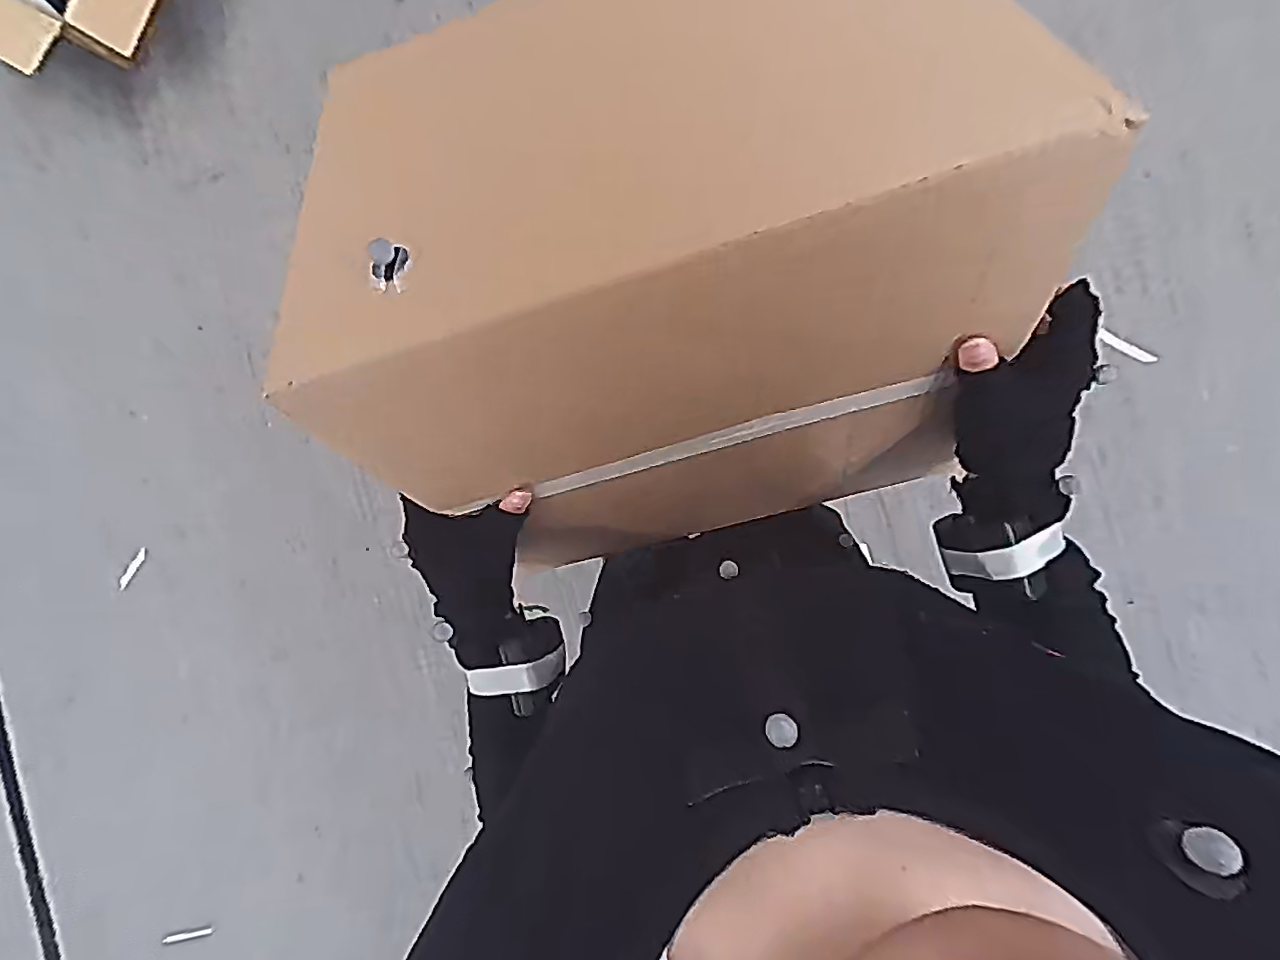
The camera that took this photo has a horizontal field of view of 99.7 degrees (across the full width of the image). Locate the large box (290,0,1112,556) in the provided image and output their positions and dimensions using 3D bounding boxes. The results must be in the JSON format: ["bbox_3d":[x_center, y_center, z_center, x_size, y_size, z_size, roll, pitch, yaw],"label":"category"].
[{"bbox_3d":[0.017,-0.171,0.449,0.408,0.320,0.320,-15,62,8],"label":"large box"}]
